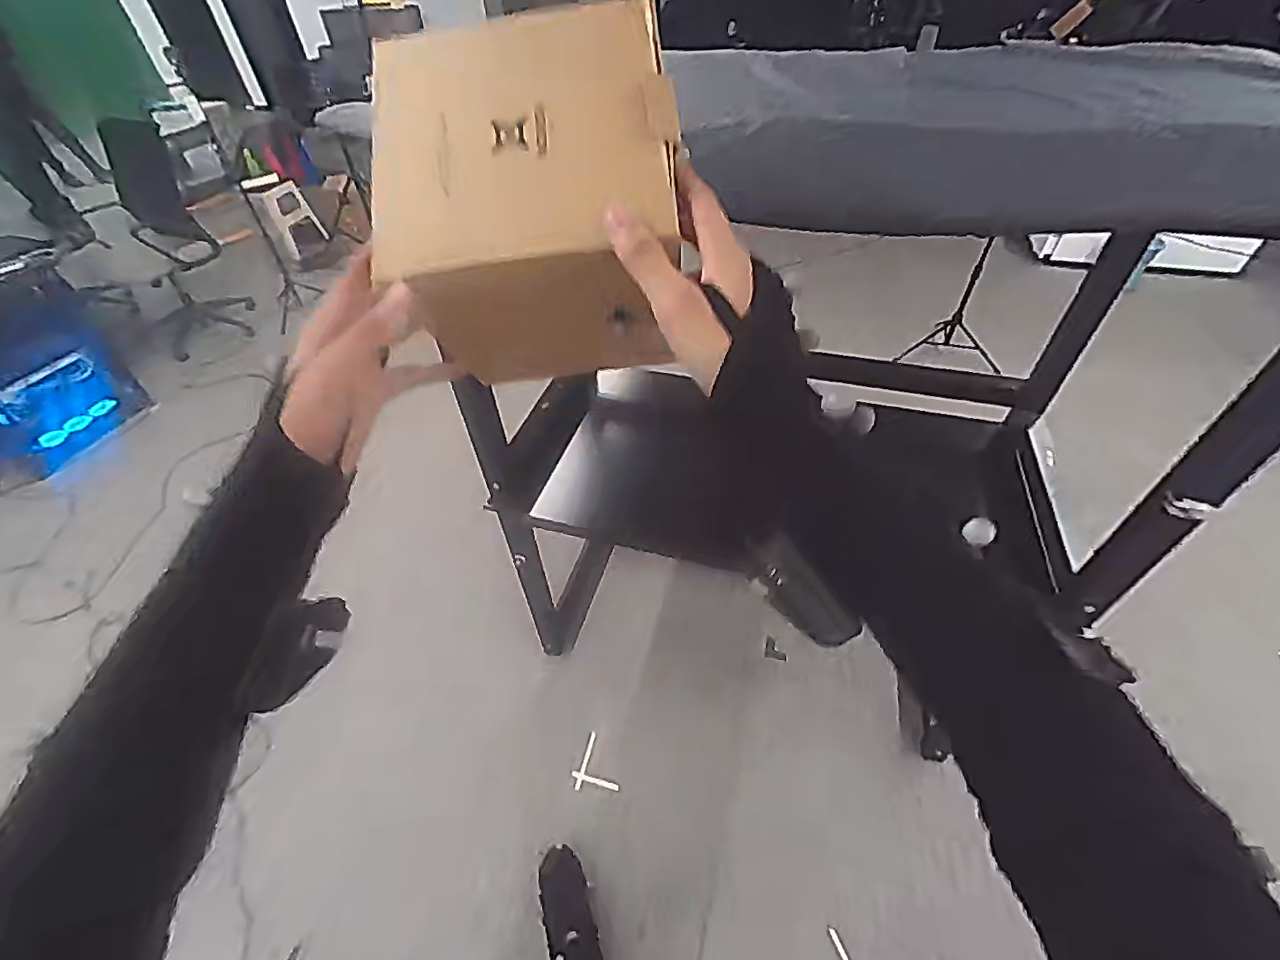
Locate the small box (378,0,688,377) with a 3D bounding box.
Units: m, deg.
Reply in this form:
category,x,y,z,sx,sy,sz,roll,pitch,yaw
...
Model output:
category,x,y,z,sx,sy,sz,roll,pitch,yaw
small box,-0.060,-0.187,0.391,0.179,0.176,0.168,-5,78,4
